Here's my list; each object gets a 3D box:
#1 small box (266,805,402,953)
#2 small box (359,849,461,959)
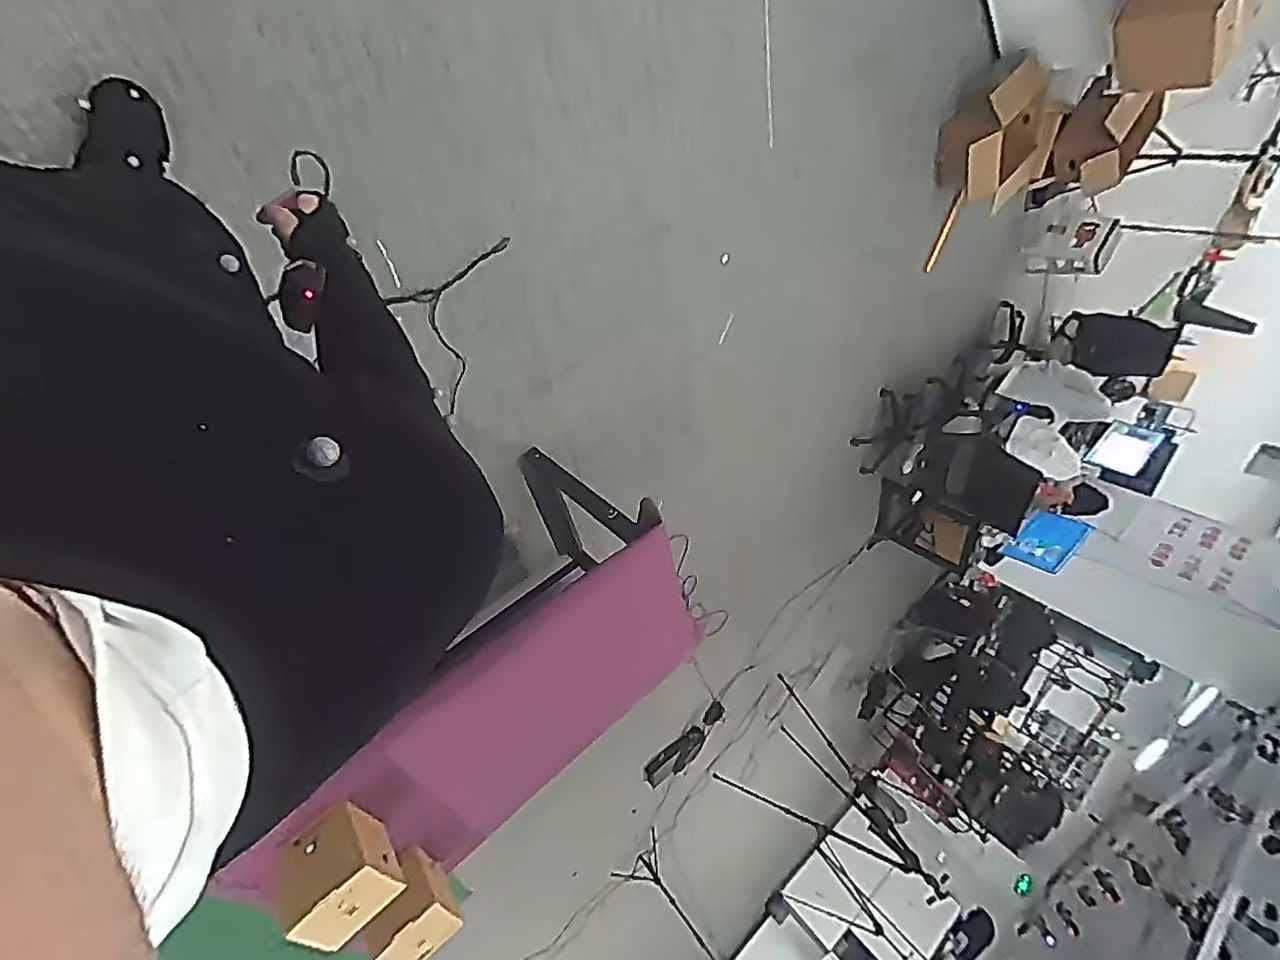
[{"bbox_3d":[-0.637,0.824,1.129,0.168,0.176,0.179,-36,135,-24],"label":"small box"},{"bbox_3d":[-0.578,1.059,1.331,0.168,0.176,0.179,-34,131,-24],"label":"small box"}]
